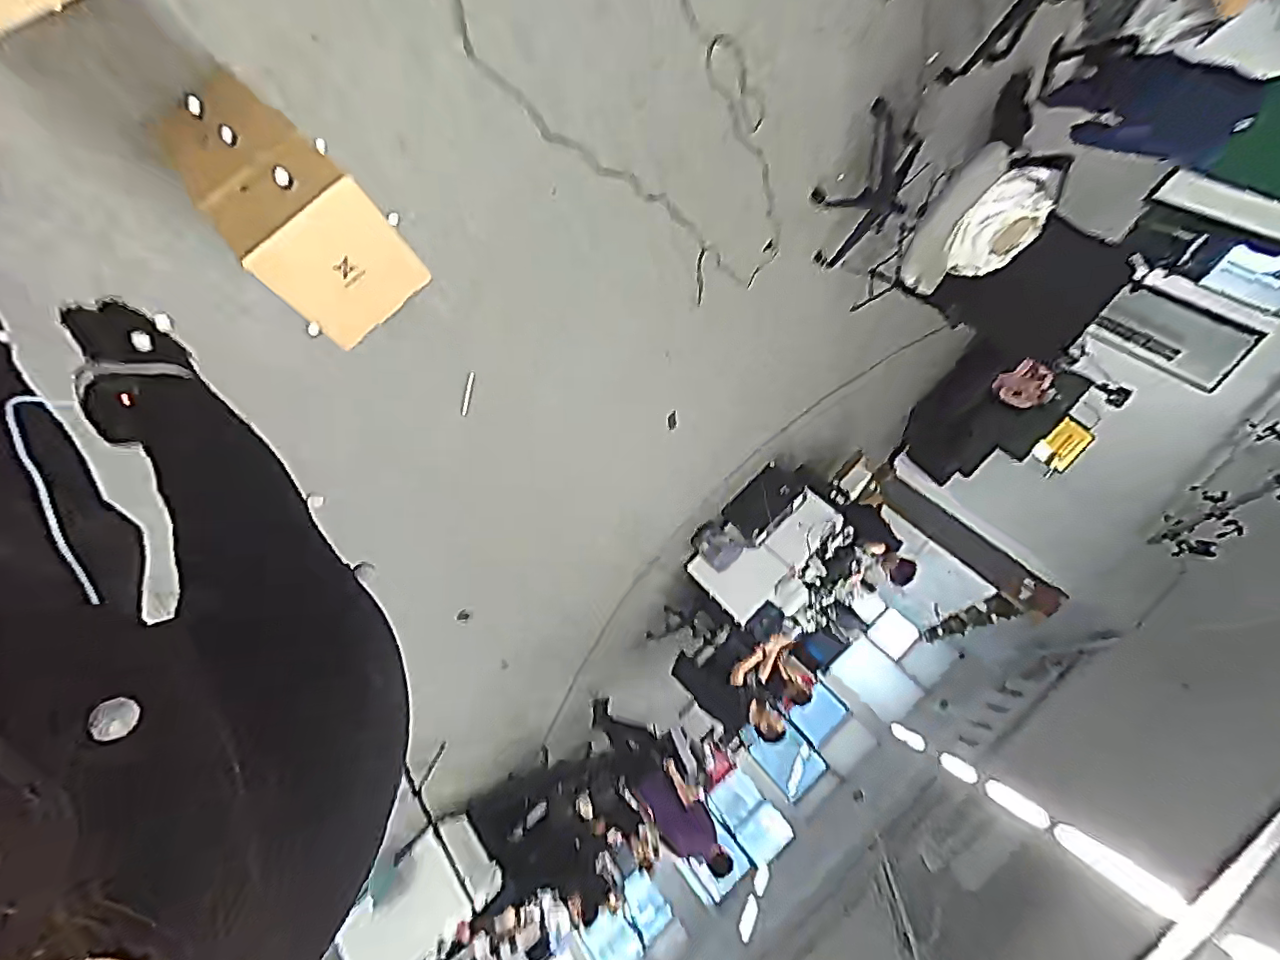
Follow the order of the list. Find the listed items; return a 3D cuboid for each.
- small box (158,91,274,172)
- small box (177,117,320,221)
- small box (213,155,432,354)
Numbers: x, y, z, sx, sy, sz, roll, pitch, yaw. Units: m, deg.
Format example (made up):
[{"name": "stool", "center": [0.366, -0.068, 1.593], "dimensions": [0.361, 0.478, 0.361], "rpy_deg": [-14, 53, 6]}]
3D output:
[{"name": "small box", "center": [-0.651, -0.516, 0.911], "dimensions": [0.168, 0.176, 0.179], "rpy_deg": [-44, 153, -6]}, {"name": "small box", "center": [-0.548, -0.418, 0.827], "dimensions": [0.168, 0.176, 0.179], "rpy_deg": [-43, 153, -7]}, {"name": "small box", "center": [-0.440, -0.318, 0.756], "dimensions": [0.168, 0.176, 0.179], "rpy_deg": [-45, 154, -5]}]
